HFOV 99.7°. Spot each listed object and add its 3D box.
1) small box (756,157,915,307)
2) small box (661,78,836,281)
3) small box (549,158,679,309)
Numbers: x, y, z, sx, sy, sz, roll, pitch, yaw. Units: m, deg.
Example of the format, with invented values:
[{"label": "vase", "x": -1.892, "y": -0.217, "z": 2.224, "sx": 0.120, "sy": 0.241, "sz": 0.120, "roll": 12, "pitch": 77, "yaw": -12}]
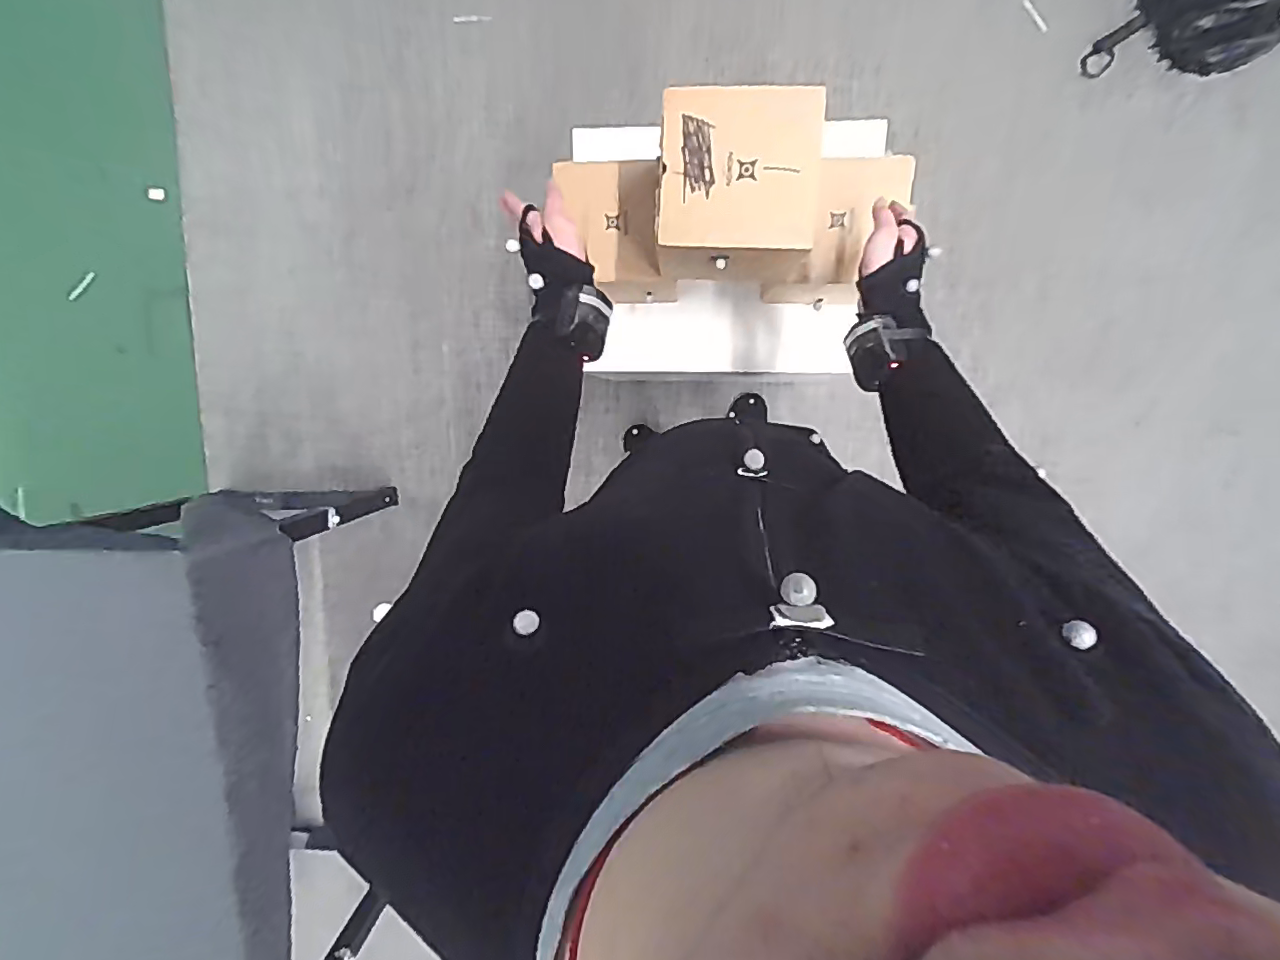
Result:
[{"label": "small box", "x": 0.279, "y": -0.358, "z": 0.806, "sx": 0.179, "sy": 0.176, "sz": 0.168, "roll": 1, "pitch": 98, "yaw": 3}, {"label": "small box", "x": 0.116, "y": -0.342, "z": 0.647, "sx": 0.179, "sy": 0.176, "sz": 0.168, "roll": 2, "pitch": 98, "yaw": 2}, {"label": "small box", "x": -0.034, "y": -0.360, "z": 0.816, "sx": 0.179, "sy": 0.176, "sz": 0.168, "roll": -2, "pitch": 97, "yaw": 2}]
